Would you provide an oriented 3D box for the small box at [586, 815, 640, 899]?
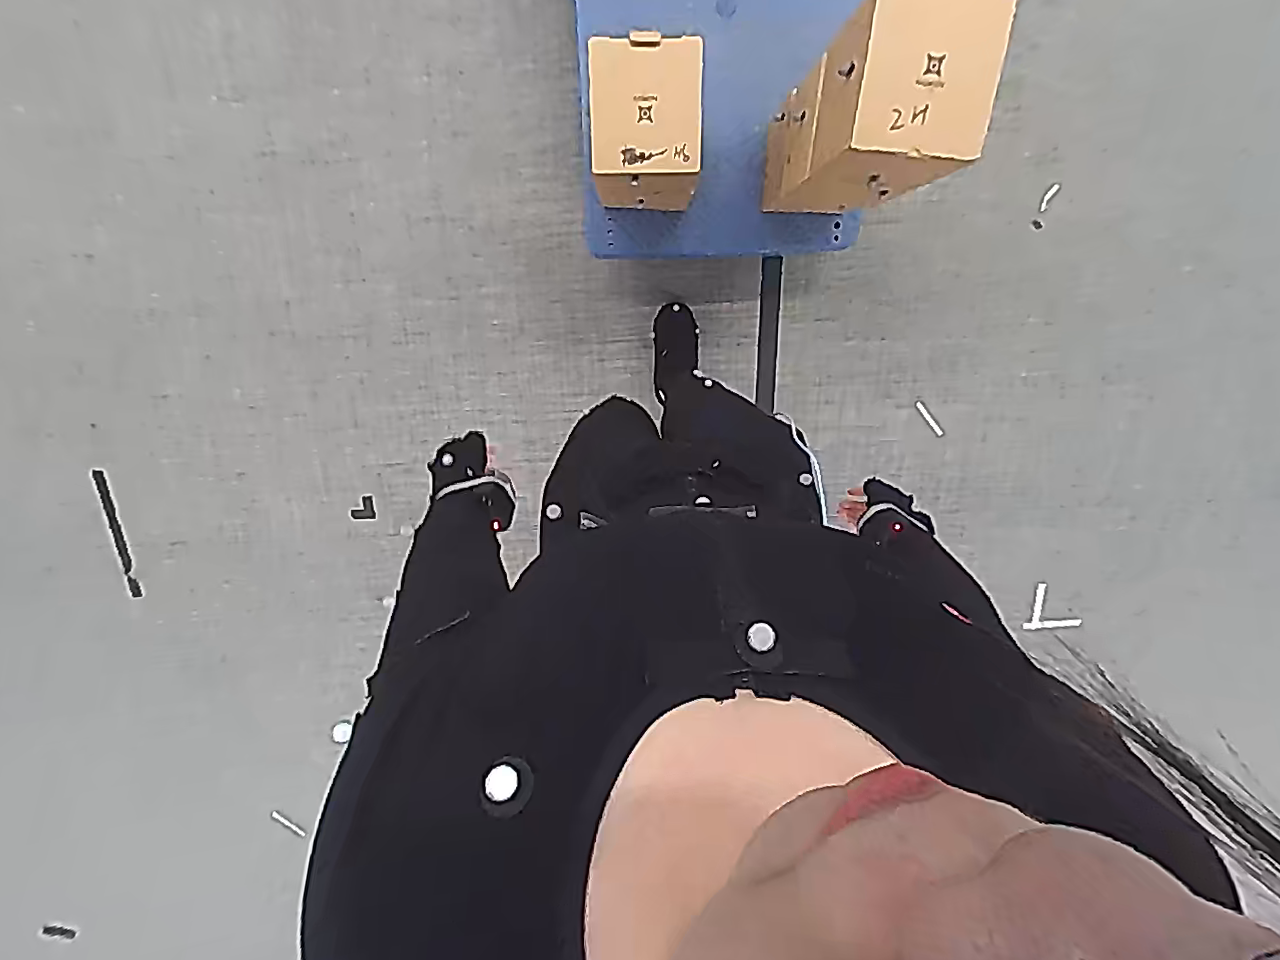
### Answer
[{"bbox_3d":[-0.091,1.284,1.850,0.168,0.176,0.179,5,109,-1],"label":"small box"}]

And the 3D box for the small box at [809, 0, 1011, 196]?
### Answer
[{"bbox_3d":[0.340,-0.499,0.722,0.168,0.176,0.179,5,108,-2],"label":"small box"}]

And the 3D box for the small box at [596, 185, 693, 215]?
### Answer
[{"bbox_3d":[0.011,-0.610,1.028,0.179,0.176,0.168,3,107,0],"label":"small box"}]

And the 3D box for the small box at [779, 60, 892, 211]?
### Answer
[{"bbox_3d":[0.338,-0.546,0.880,0.179,0.176,0.168,3,108,-2],"label":"small box"}]

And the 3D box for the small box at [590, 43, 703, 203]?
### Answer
[{"bbox_3d":[0.007,-0.561,0.871,0.168,0.176,0.179,0,107,0],"label":"small box"}]
